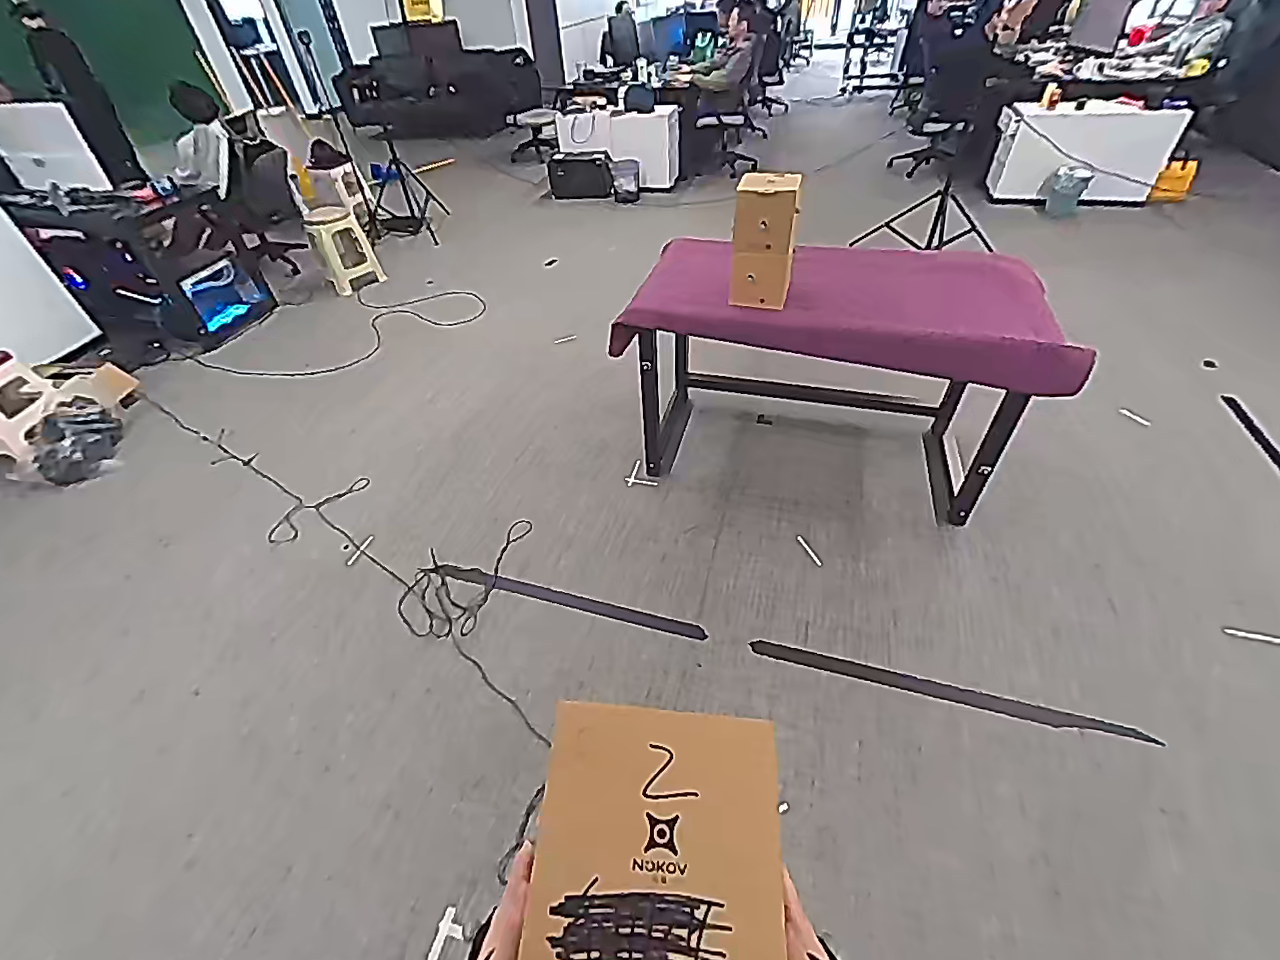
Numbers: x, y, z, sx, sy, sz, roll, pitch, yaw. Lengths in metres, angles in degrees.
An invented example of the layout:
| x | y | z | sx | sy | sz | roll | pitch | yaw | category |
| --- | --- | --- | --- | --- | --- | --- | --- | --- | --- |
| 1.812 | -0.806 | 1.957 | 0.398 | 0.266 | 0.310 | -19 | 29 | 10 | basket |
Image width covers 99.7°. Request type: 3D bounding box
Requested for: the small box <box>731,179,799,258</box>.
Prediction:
| x | y | z | sx | sy | sz | roll | pitch | yaw | category |
| --- | --- | --- | --- | --- | --- | --- | --- | --- | --- |
| 0.360 | -0.759 | 1.571 | 0.168 | 0.176 | 0.179 | 9 | 44 | 13 | small box |

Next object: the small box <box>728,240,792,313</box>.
| x | y | z | sx | sy | sz | roll | pitch | yaw | category |
| --- | --- | --- | --- | --- | --- | --- | --- | --- | --- |
| 0.370 | -0.635 | 1.679 | 0.168 | 0.176 | 0.179 | 10 | 44 | 15 | small box |
